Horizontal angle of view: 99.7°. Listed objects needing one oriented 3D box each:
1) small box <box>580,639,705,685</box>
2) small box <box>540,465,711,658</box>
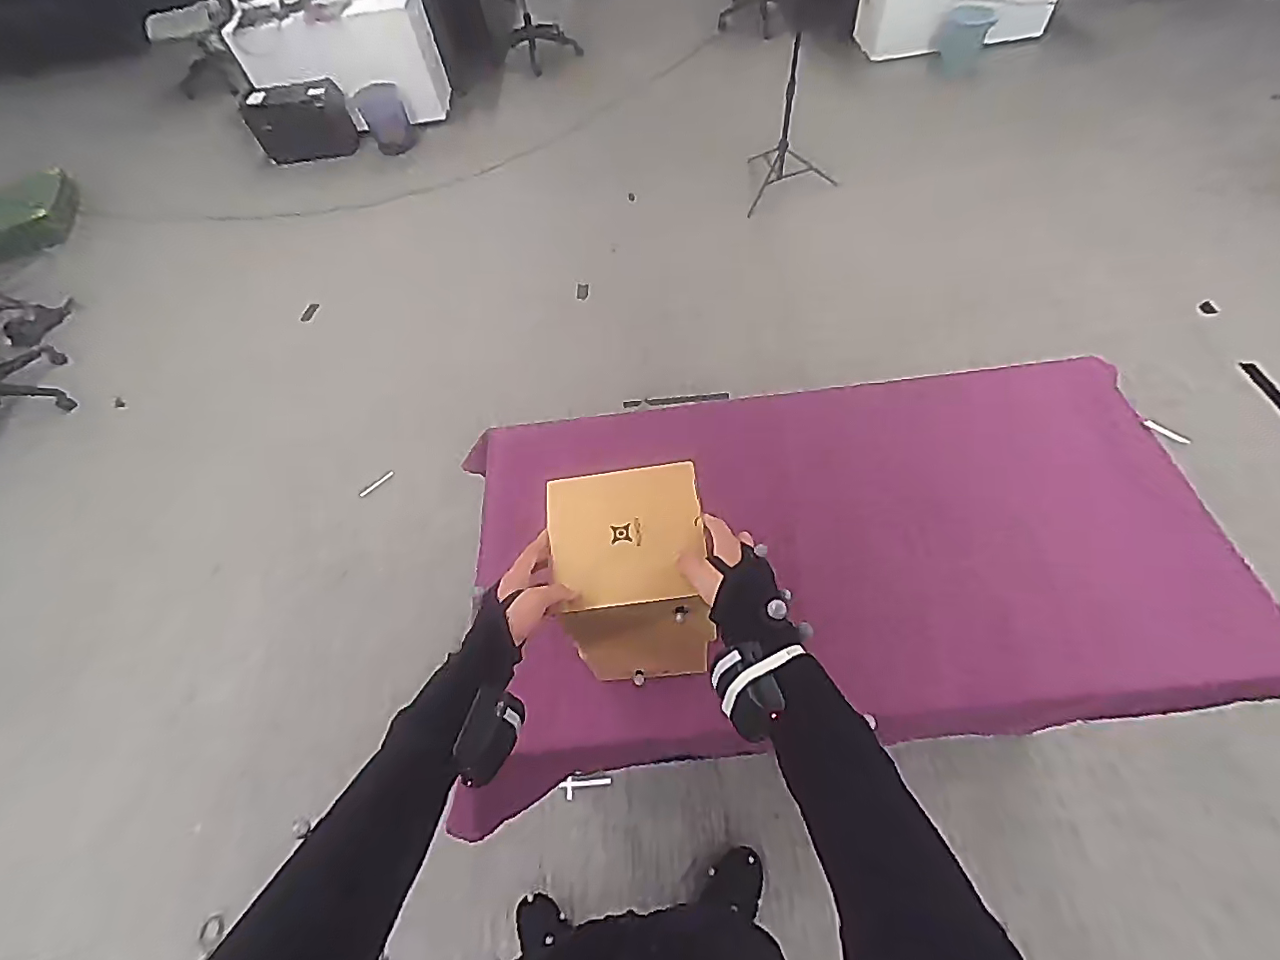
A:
[{"bbox_3d":[0.003,0.186,0.788,0.168,0.176,0.179,-6,58,4],"label":"small box"},{"bbox_3d":[-0.013,0.105,0.649,0.179,0.176,0.168,-8,57,2],"label":"small box"}]
